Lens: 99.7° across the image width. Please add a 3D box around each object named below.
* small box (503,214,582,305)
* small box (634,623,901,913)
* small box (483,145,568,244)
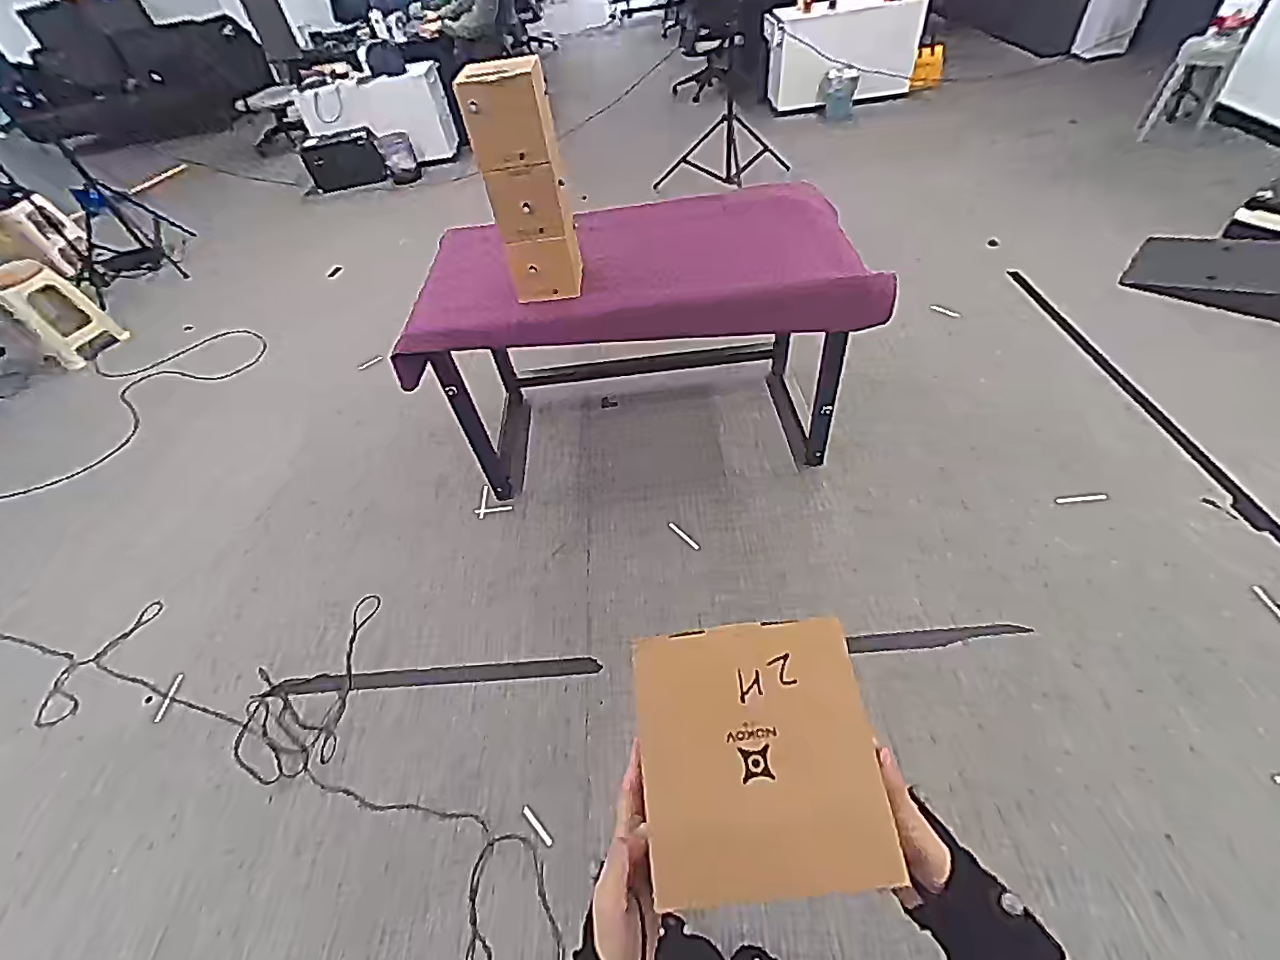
[{"bbox_3d":[-0.255,-0.588,1.459,0.168,0.176,0.179,-5,48,3],"label":"small box"},{"bbox_3d":[0.090,0.234,0.459,0.168,0.176,0.179,-7,61,2],"label":"small box"},{"bbox_3d":[-0.275,-0.700,1.341,0.168,0.176,0.179,-7,48,2],"label":"small box"}]
